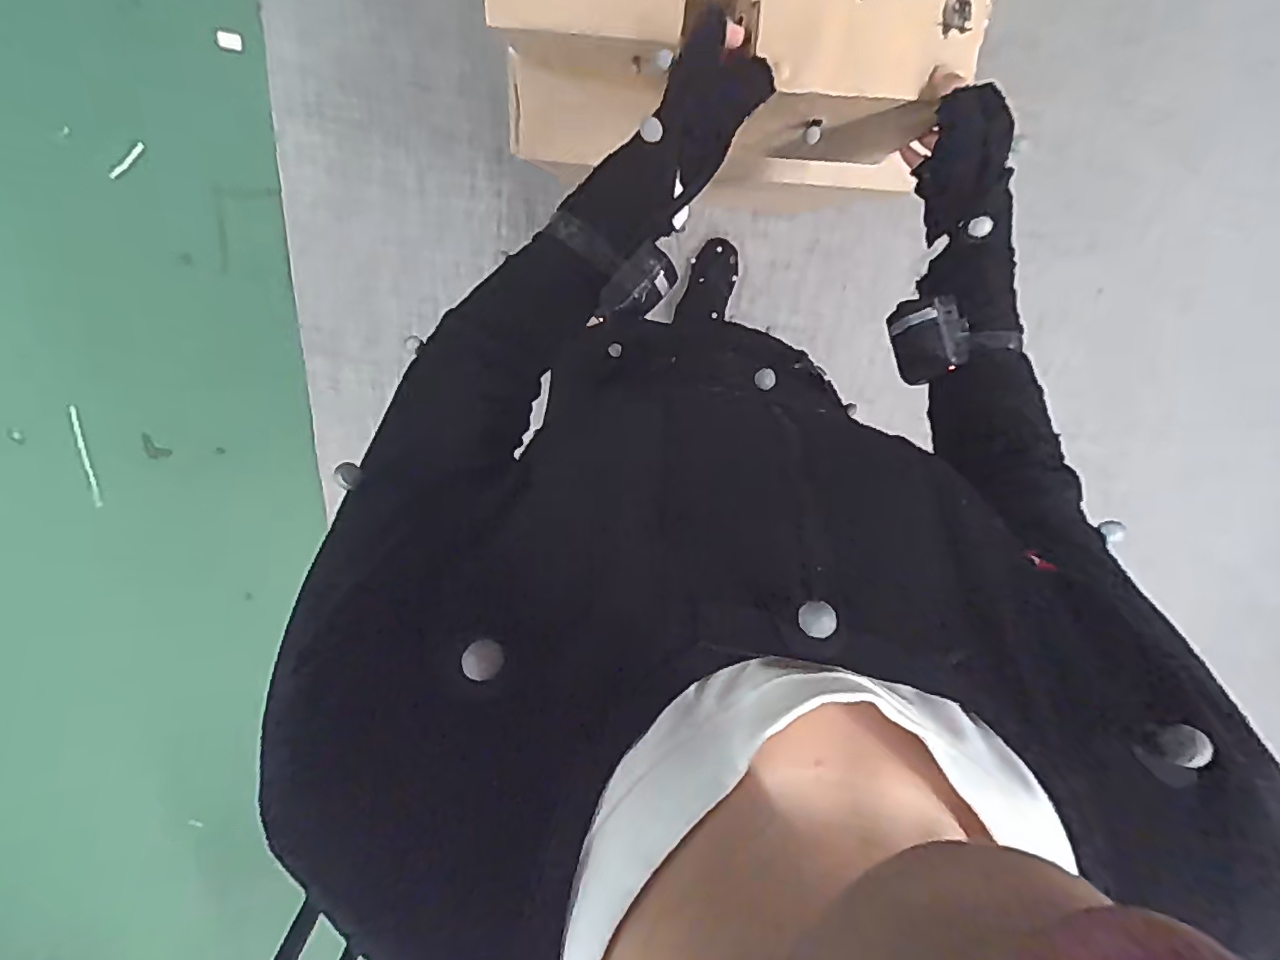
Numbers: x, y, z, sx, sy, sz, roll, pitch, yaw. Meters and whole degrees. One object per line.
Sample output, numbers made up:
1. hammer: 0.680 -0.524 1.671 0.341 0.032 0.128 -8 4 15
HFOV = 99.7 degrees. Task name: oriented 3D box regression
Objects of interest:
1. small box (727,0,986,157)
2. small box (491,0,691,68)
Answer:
1. small box: 0.179 -0.408 0.483 0.179 0.176 0.168 3 105 -1
2. small box: -0.037 -0.508 0.511 0.179 0.176 0.168 4 119 1
